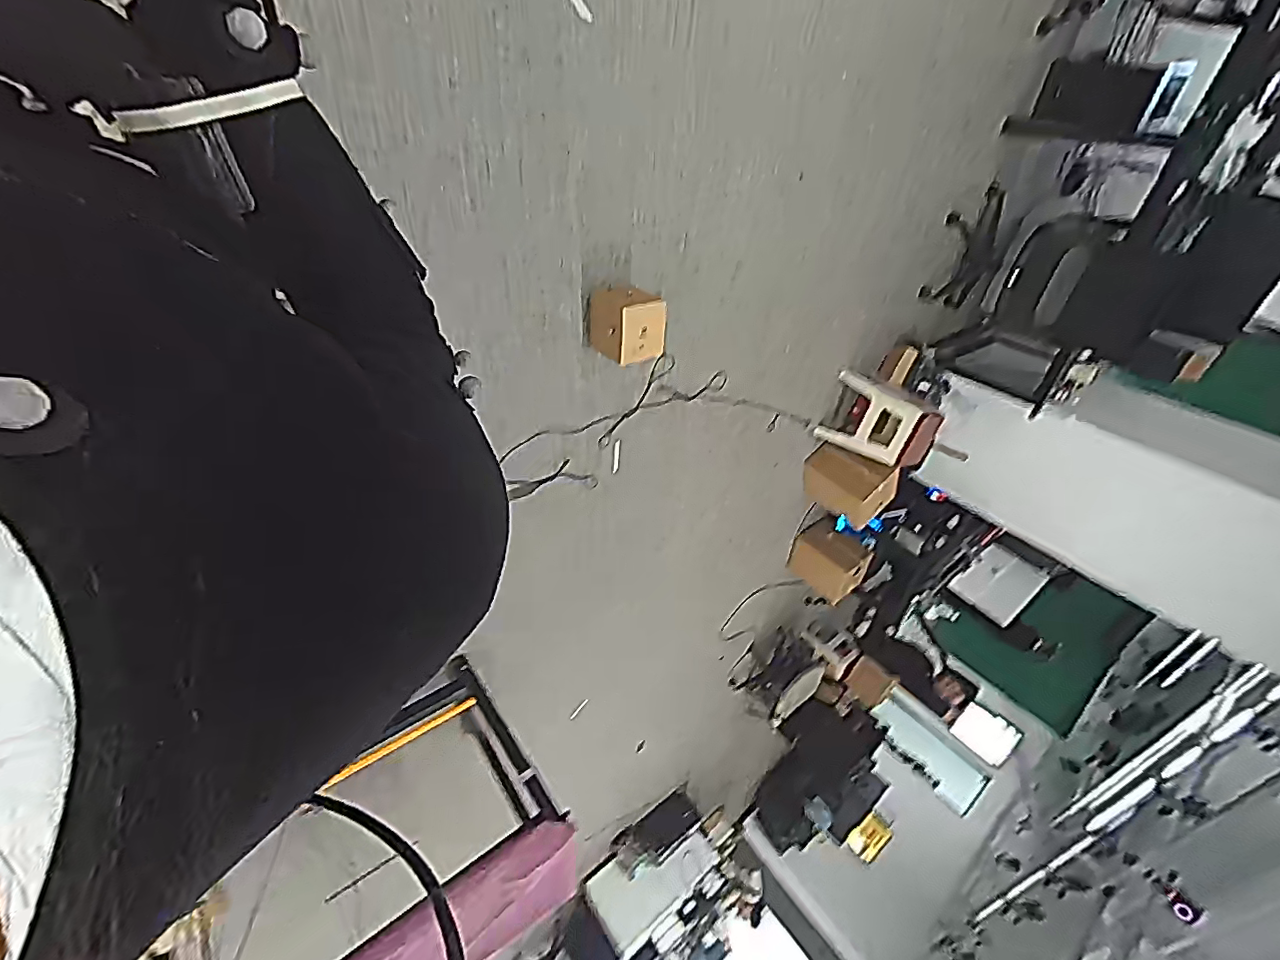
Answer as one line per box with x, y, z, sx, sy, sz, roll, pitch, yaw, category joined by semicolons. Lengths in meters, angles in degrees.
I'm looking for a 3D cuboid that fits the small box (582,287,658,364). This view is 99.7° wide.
-0.066;-0.479;1.646;0.168;0.176;0.179;-22;134;-32;small box
